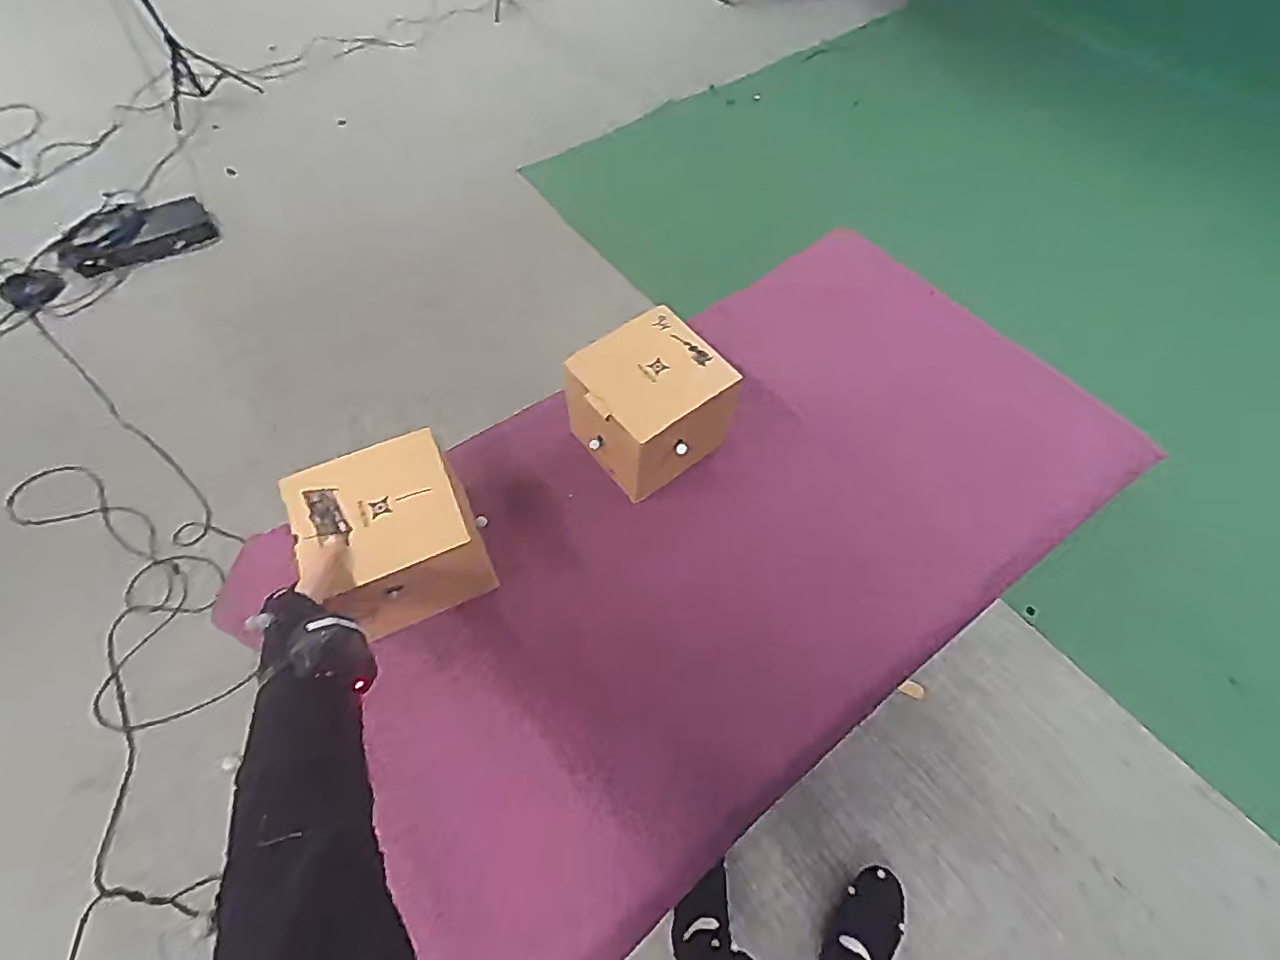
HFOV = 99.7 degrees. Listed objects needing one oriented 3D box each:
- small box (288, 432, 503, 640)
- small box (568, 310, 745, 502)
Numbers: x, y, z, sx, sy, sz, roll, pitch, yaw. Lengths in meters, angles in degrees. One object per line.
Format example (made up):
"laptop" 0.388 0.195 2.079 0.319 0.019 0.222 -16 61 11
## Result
"small box" -0.289 0.076 0.666 0.179 0.176 0.168 -22 65 -14
"small box" 0.022 -0.097 0.769 0.179 0.176 0.168 -35 68 -17
